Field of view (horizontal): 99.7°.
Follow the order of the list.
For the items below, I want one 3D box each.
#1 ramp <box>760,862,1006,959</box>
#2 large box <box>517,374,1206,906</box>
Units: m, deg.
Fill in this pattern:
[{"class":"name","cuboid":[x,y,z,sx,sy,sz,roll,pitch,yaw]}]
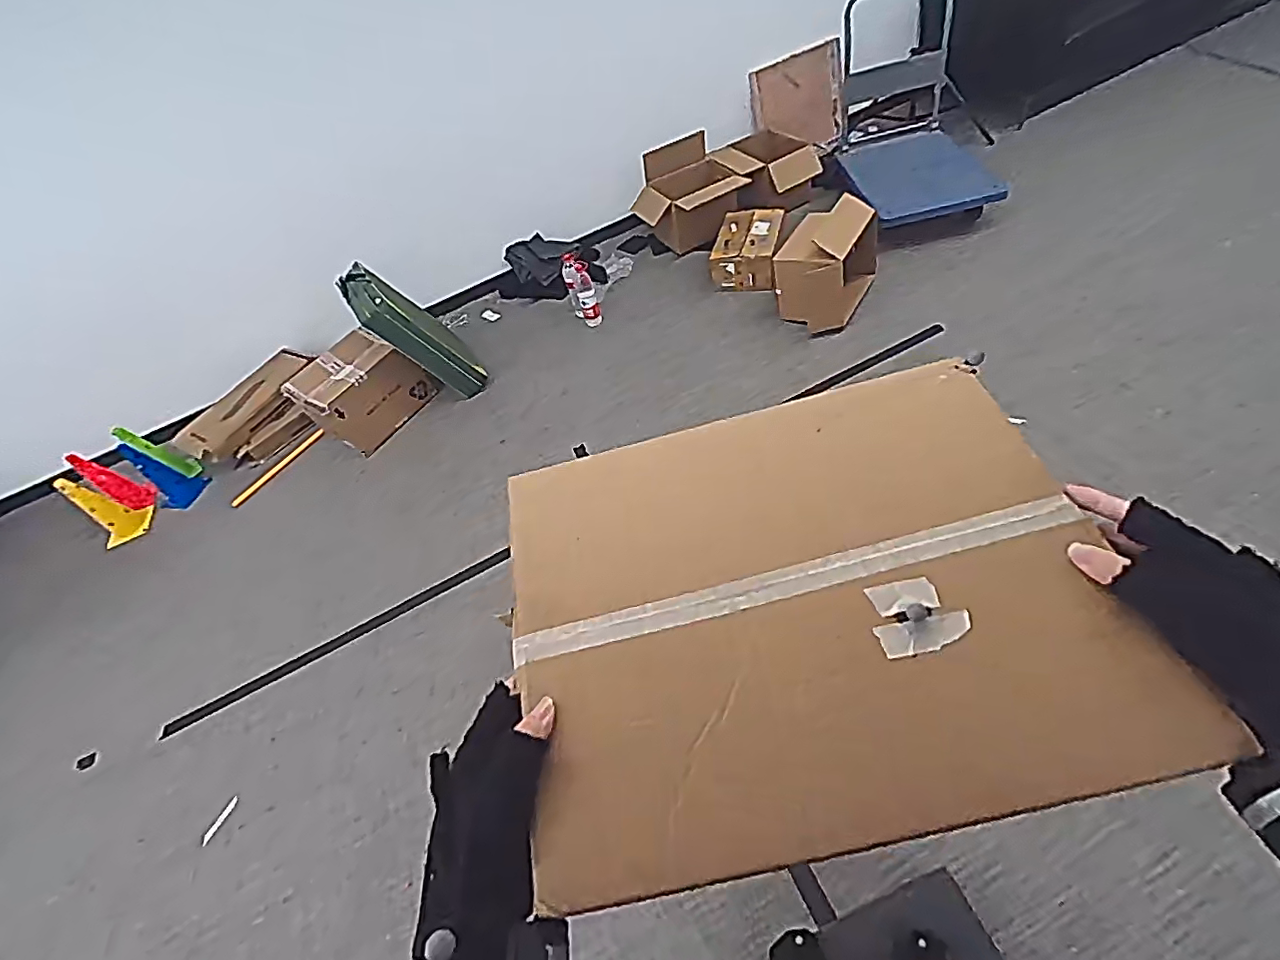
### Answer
[{"class":"ramp","cuboid":[0.599,1.250,0.830,0.509,0.206,0.991,-26,50,-6]},{"class":"large box","cuboid":[0.133,0.160,0.522,0.408,0.320,0.320,-15,56,2]}]
